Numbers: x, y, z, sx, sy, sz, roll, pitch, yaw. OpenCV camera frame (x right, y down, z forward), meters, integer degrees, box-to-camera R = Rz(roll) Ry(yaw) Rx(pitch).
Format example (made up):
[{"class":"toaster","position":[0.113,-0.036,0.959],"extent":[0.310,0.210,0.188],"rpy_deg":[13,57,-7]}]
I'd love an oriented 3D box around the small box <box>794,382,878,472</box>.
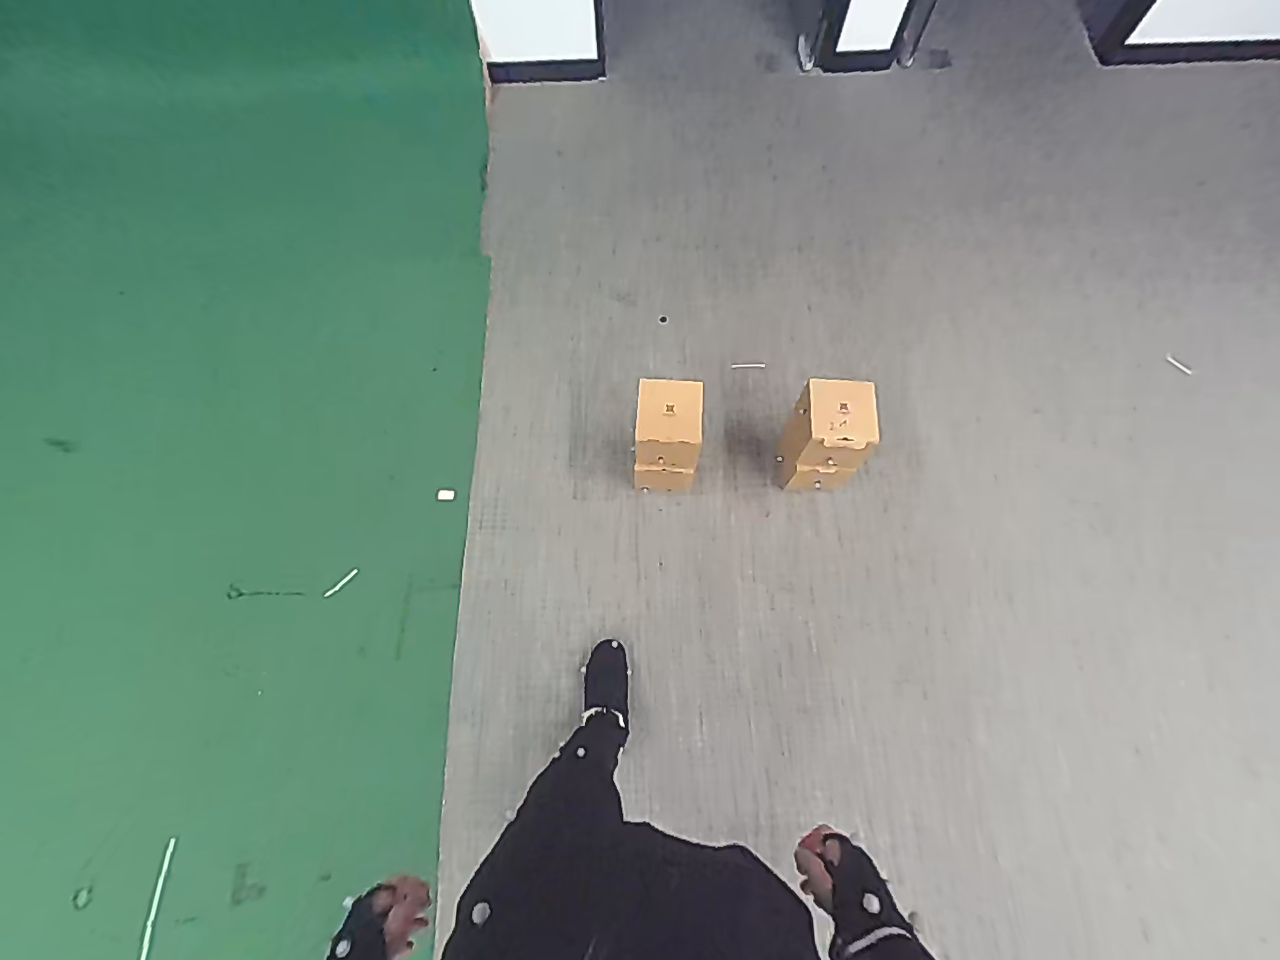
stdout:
[{"class":"small box","position":[0.509,-0.137,1.428],"extent":[0.168,0.176,0.179],"rpy_deg":[4,69,3]}]

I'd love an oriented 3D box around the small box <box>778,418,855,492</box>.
[{"class":"small box","position":[0.509,-0.068,1.578],"extent":[0.168,0.176,0.179],"rpy_deg":[1,70,0]}]

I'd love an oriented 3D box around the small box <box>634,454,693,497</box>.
[{"class":"small box","position":[0.072,-0.059,1.593],"extent":[0.168,0.176,0.179],"rpy_deg":[4,68,0]}]

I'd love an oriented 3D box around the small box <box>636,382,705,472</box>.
[{"class":"small box","position":[0.077,-0.137,1.432],"extent":[0.168,0.176,0.179],"rpy_deg":[3,69,1]}]
